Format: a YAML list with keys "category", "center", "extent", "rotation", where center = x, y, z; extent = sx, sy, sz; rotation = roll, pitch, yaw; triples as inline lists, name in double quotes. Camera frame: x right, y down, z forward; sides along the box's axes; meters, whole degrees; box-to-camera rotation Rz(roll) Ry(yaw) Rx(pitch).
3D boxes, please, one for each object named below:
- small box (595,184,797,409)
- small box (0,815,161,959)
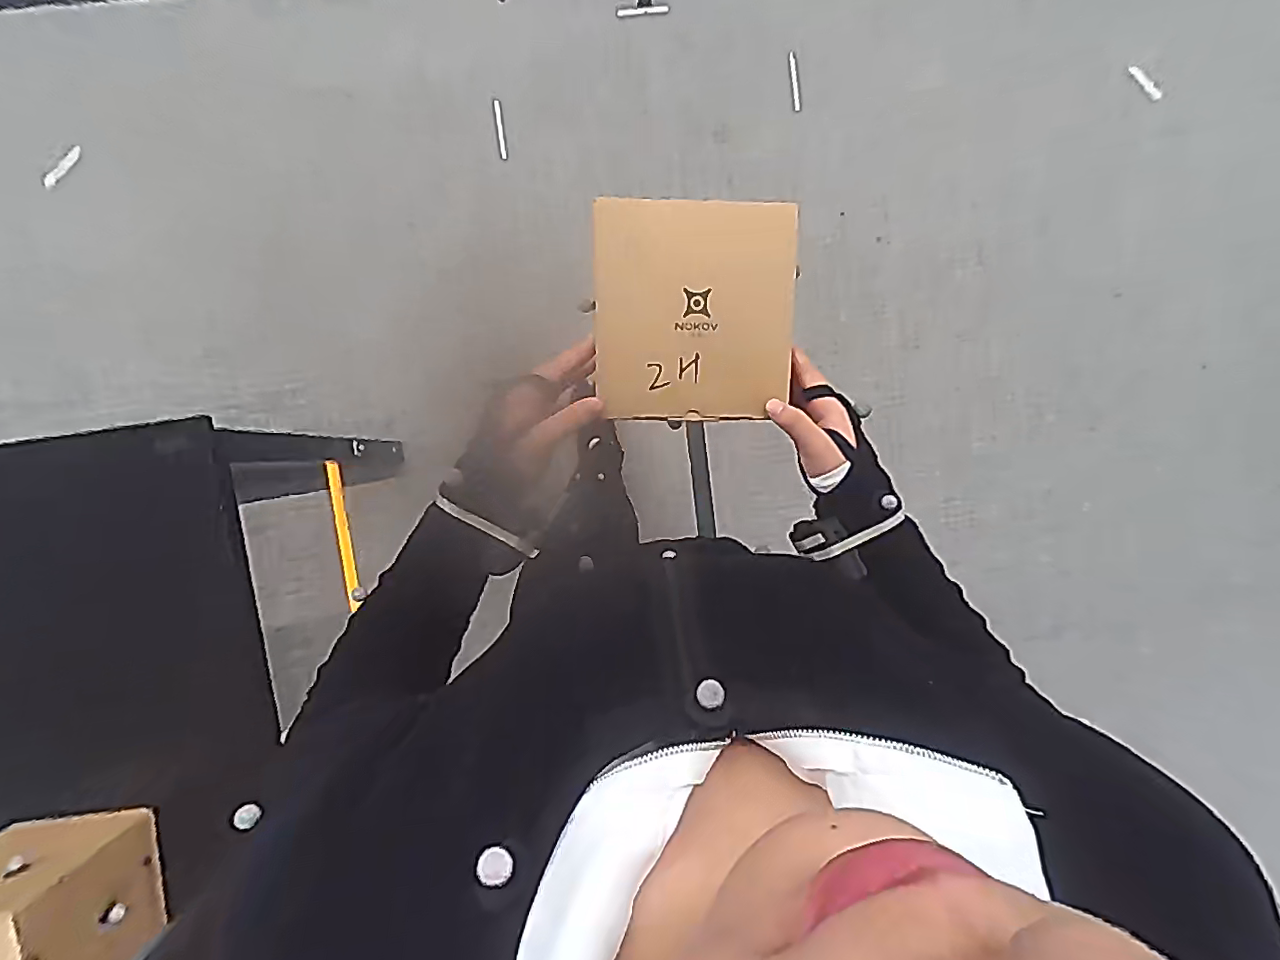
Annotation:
- category: "small box"
  center: [0.040, -0.160, 0.522]
  extent: [0.168, 0.176, 0.179]
  rotation: [0, 100, -3]
- category: "small box"
  center: [-0.711, 0.526, 0.633]
  extent: [0.179, 0.176, 0.168]
  rotation: [-5, 92, -4]
